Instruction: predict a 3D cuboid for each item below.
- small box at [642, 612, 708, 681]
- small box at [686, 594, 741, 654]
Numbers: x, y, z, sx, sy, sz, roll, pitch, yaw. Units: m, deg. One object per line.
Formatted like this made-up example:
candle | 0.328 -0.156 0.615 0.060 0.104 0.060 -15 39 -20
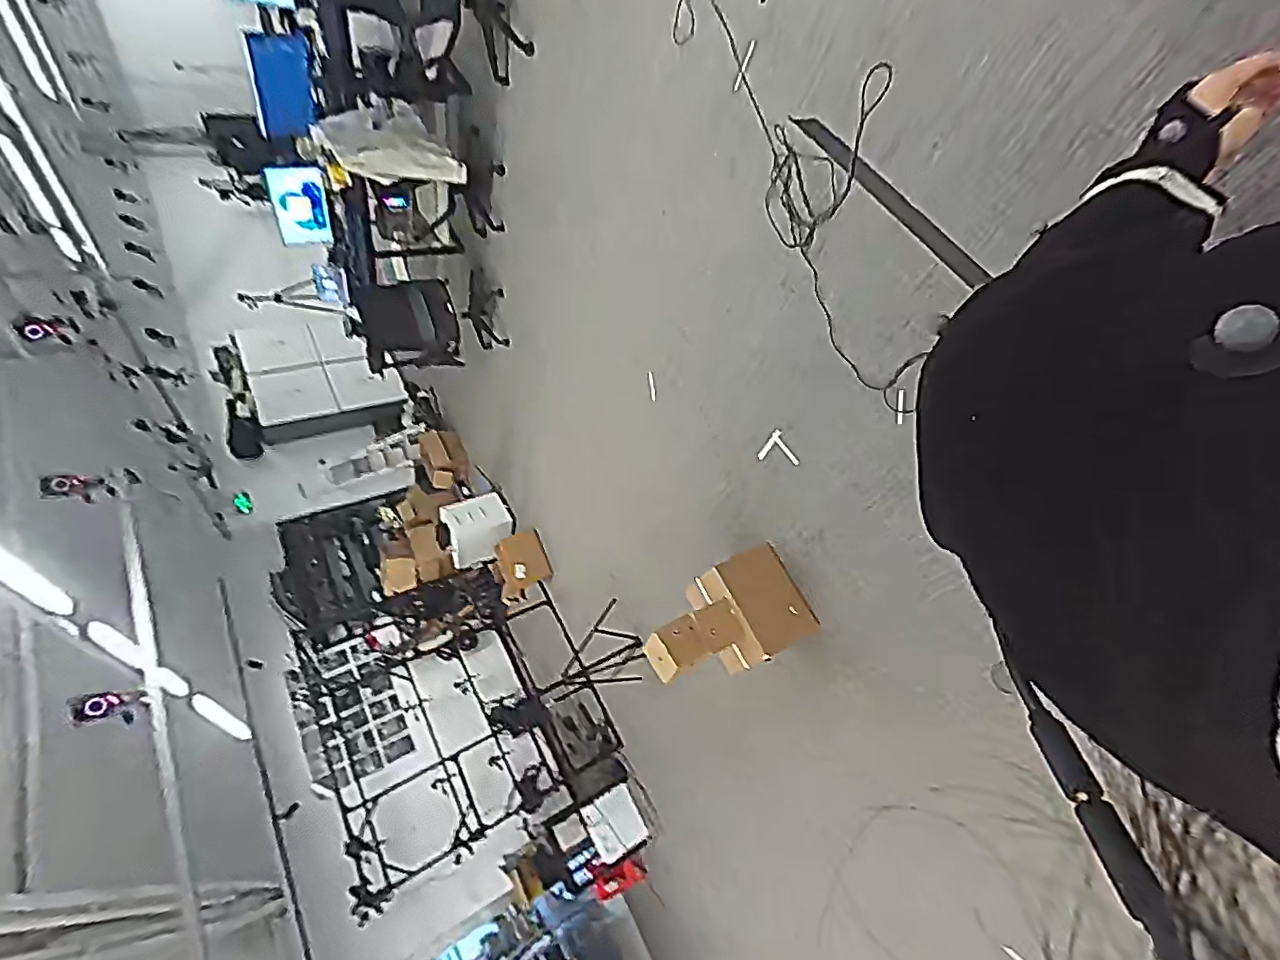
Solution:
small box | 0.138 0.638 2.083 0.168 0.176 0.179 54 147 28
small box | 0.273 0.580 2.154 0.179 0.176 0.168 63 148 15
